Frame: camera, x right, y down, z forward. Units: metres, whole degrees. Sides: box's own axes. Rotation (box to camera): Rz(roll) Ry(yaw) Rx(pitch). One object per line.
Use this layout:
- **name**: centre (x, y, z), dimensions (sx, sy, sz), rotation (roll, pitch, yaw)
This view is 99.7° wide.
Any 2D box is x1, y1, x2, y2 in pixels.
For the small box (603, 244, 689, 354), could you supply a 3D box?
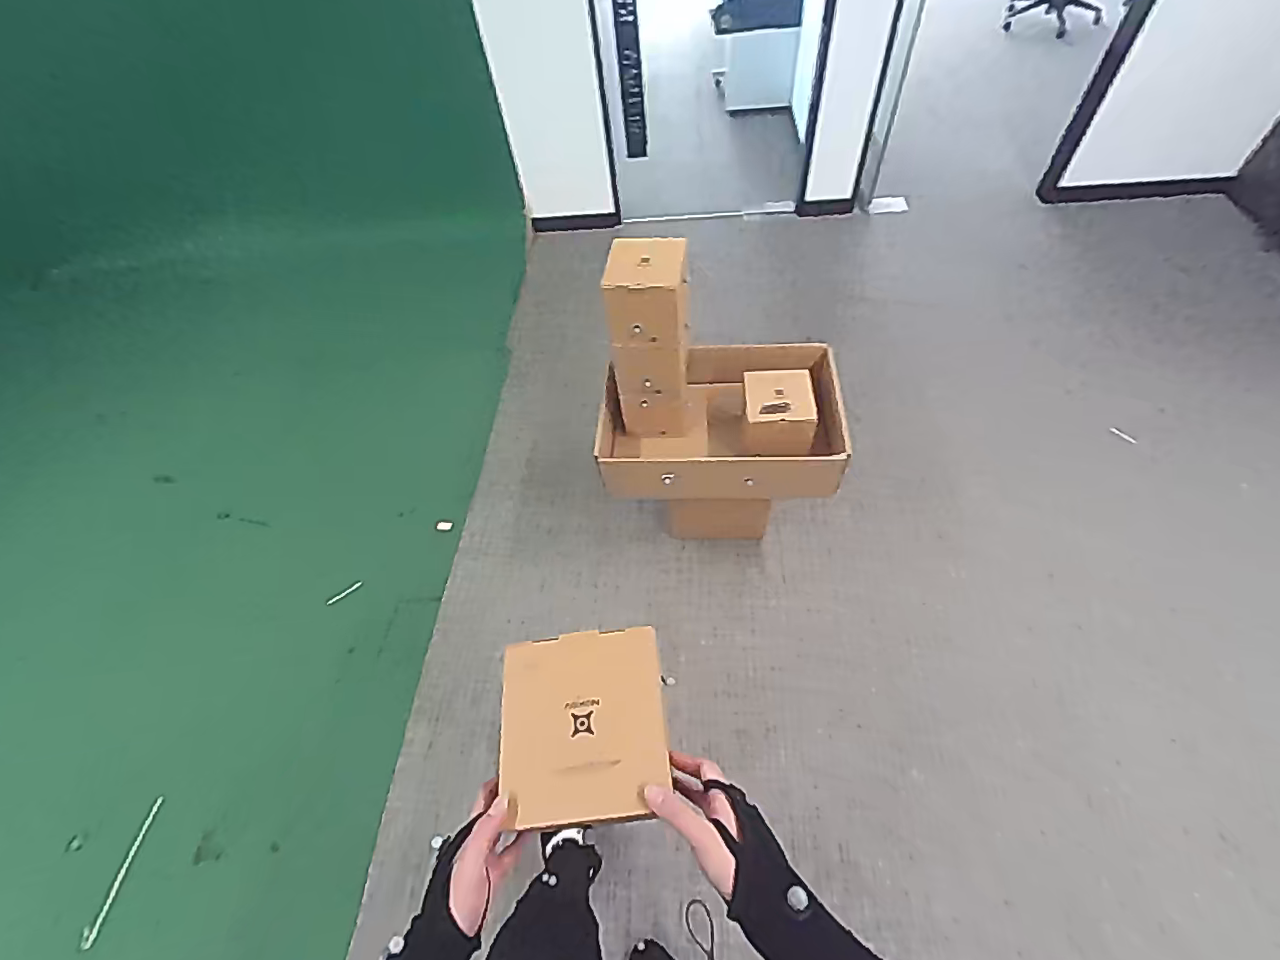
- **small box**: centre (0.021, -0.414, 1.236), dimensions (0.168, 0.176, 0.179), rotation (4, 56, 9)

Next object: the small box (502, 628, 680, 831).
- **small box**: centre (-0.045, 0.283, 0.606), dimensions (0.168, 0.176, 0.179), rotation (-6, 56, 1)

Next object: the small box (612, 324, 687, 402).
- **small box**: centre (0.031, -0.320, 1.368), dimensions (0.168, 0.176, 0.179), rotation (3, 55, 9)

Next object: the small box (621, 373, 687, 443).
- **small box**: centre (0.044, -0.225, 1.501), dimensions (0.168, 0.176, 0.179), rotation (1, 55, 7)

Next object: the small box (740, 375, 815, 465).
- **small box**: centre (0.353, -0.151, 1.413), dimensions (0.168, 0.176, 0.179), rotation (0, 54, 6)
